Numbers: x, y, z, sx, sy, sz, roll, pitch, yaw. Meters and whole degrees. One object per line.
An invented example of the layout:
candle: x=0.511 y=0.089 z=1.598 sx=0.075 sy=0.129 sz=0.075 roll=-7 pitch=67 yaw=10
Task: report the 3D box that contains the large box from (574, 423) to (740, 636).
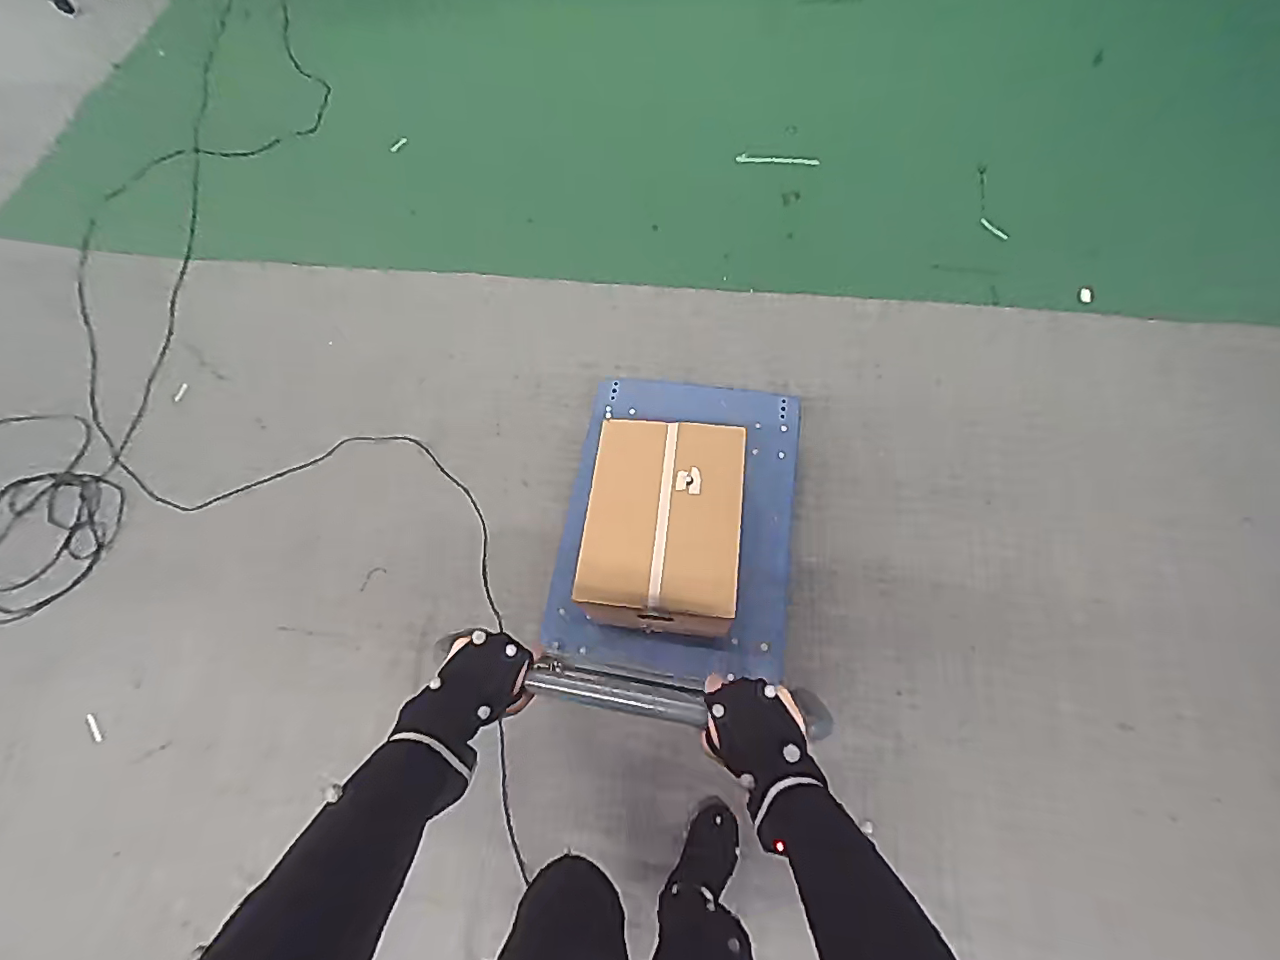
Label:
large box: x=0.057 y=0.124 z=1.240 sx=0.320 sy=0.320 sz=0.408 roll=5 pitch=68 yaw=7
